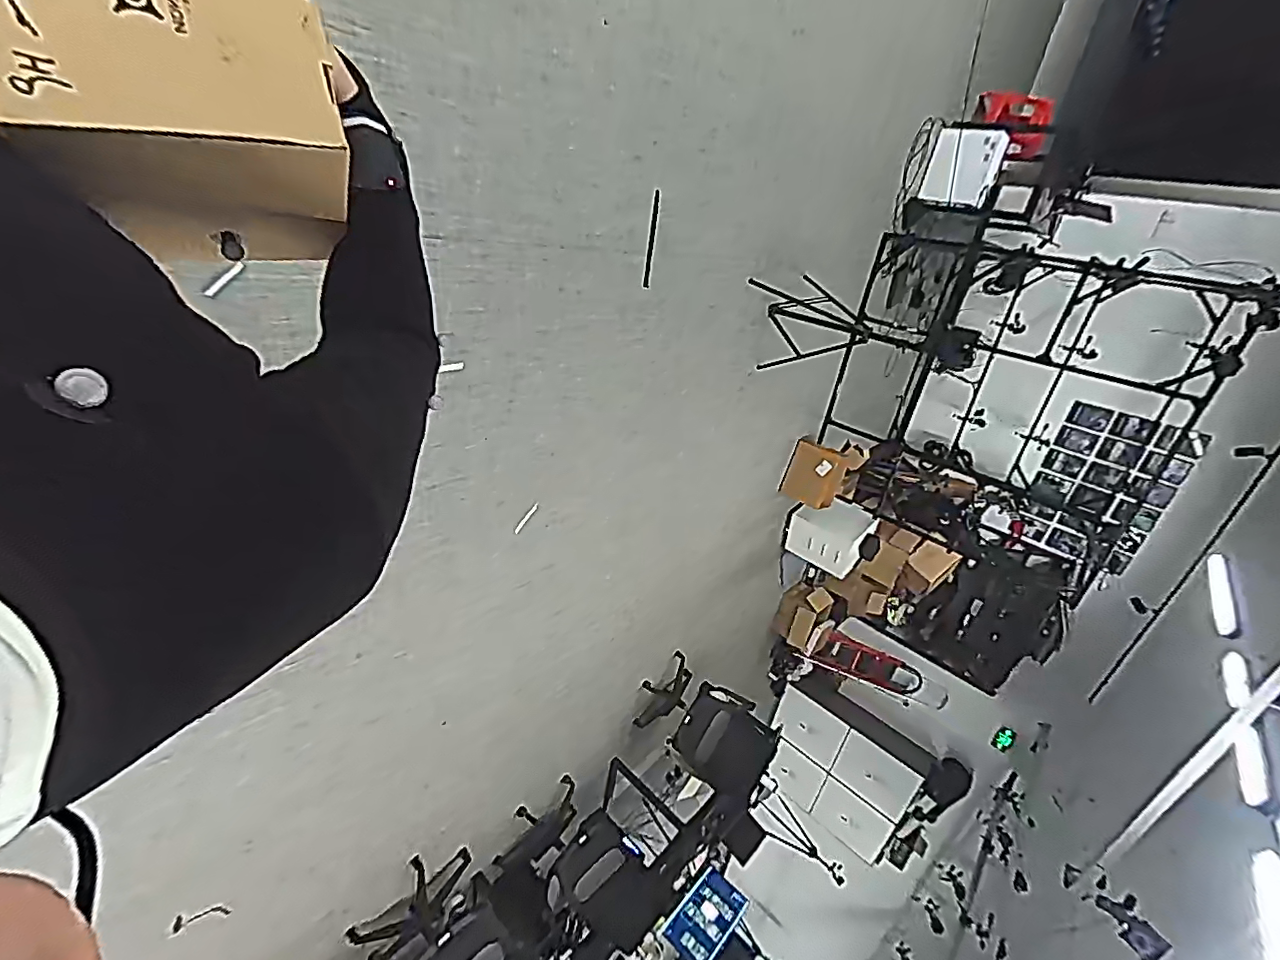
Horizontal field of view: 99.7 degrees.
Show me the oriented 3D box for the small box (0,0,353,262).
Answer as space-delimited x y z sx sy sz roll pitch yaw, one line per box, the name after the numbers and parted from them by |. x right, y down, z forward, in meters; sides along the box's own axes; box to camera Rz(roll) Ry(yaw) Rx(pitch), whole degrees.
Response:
-0.338 -0.283 0.413 0.179 0.176 0.168 -15 91 -31 | small box
